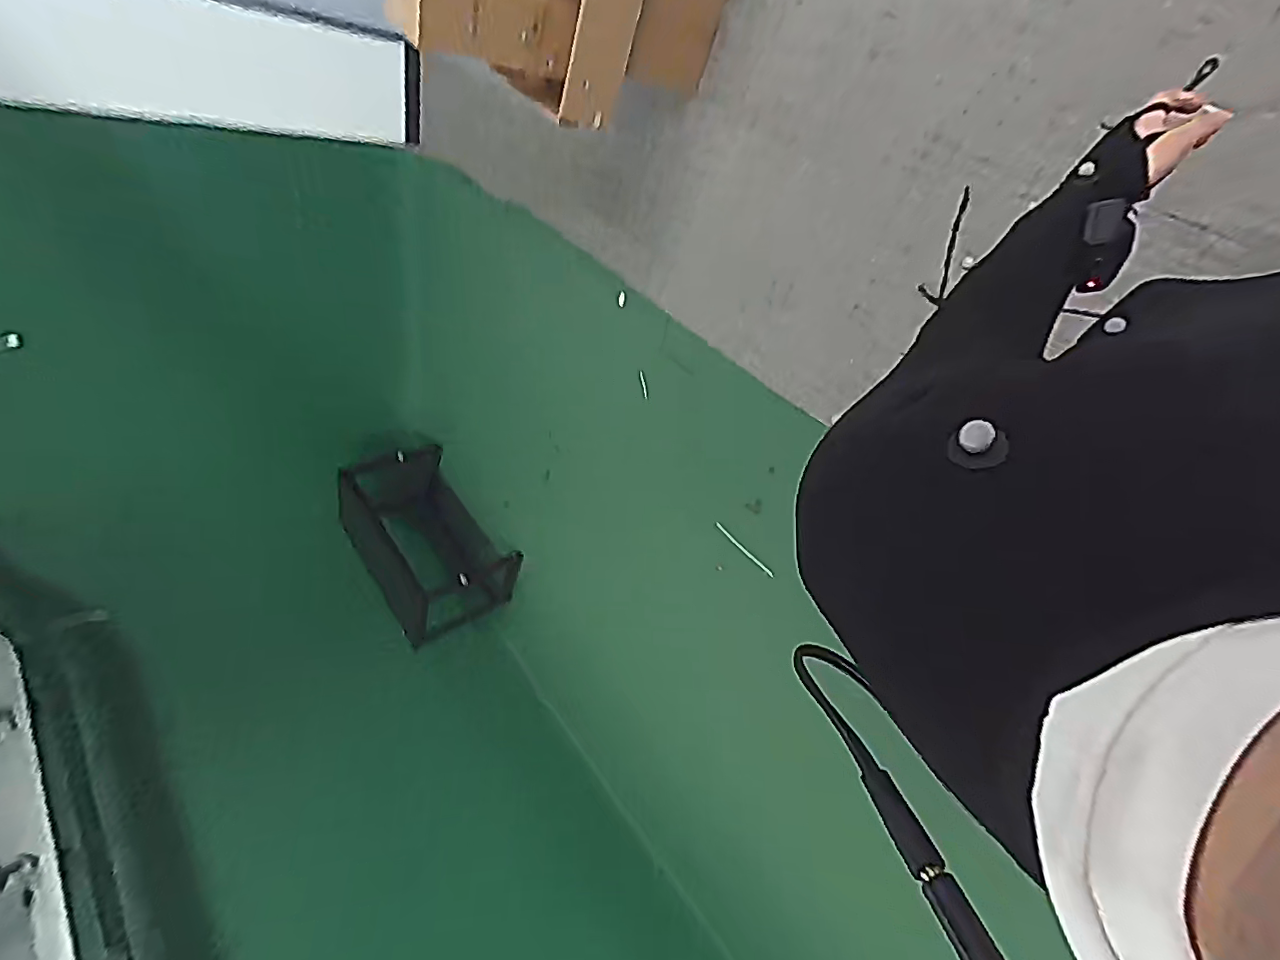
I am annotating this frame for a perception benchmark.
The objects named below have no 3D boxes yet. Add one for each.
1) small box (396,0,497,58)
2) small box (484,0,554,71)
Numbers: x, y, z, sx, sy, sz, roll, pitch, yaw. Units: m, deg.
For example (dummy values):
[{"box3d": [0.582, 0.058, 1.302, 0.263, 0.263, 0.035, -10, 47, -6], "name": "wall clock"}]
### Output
[{"box3d": [-0.469, -1.162, 1.310, 0.179, 0.176, 0.168, 49, 138, 22], "name": "small box"}, {"box3d": [-0.353, -1.209, 1.415, 0.179, 0.176, 0.168, 49, 138, 21], "name": "small box"}]
